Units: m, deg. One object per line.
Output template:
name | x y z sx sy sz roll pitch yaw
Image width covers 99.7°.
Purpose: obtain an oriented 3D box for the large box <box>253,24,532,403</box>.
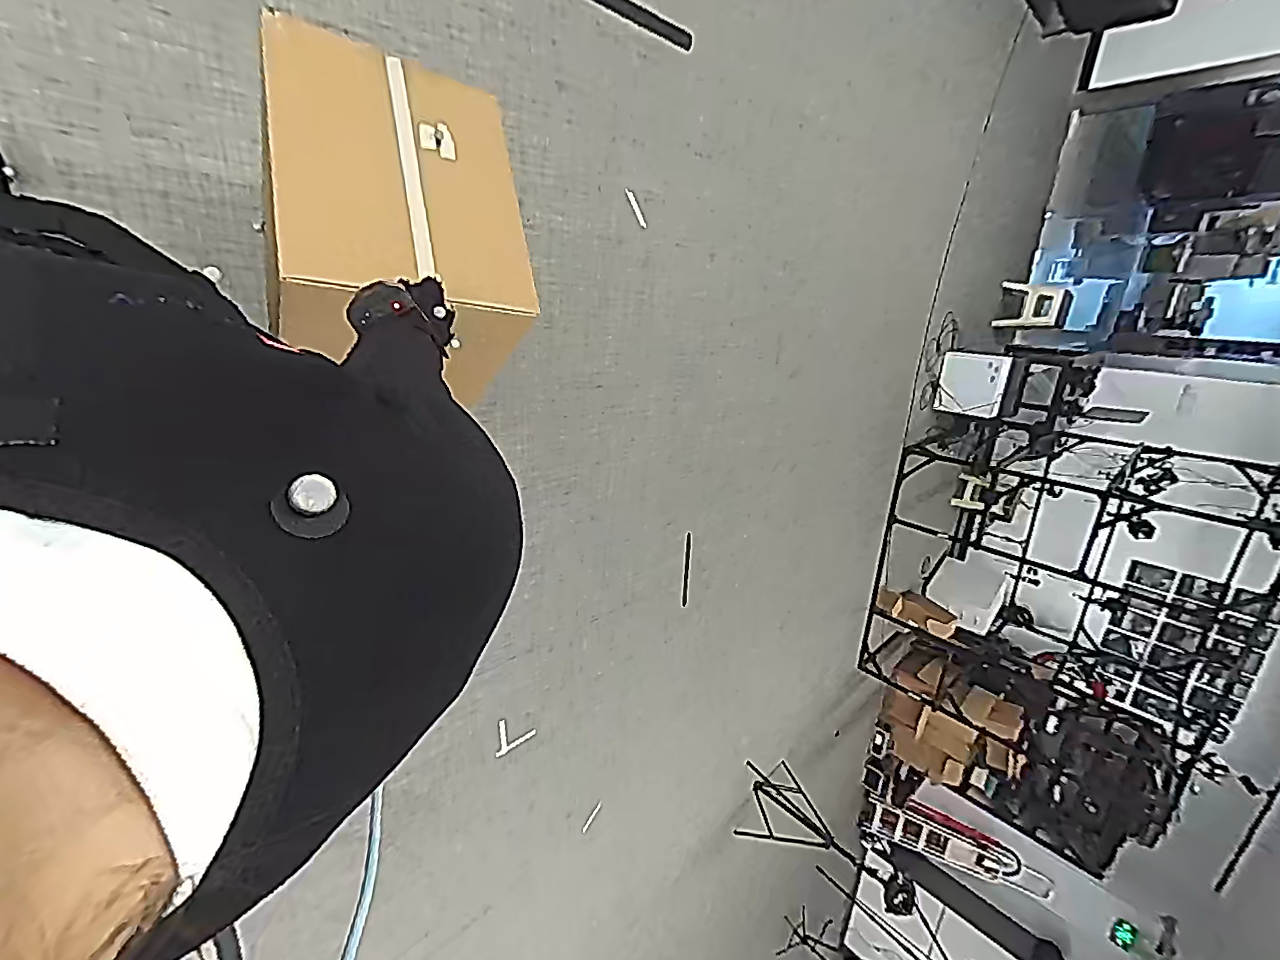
large box | -0.410 -0.367 0.858 0.320 0.320 0.408 -4 71 -38
